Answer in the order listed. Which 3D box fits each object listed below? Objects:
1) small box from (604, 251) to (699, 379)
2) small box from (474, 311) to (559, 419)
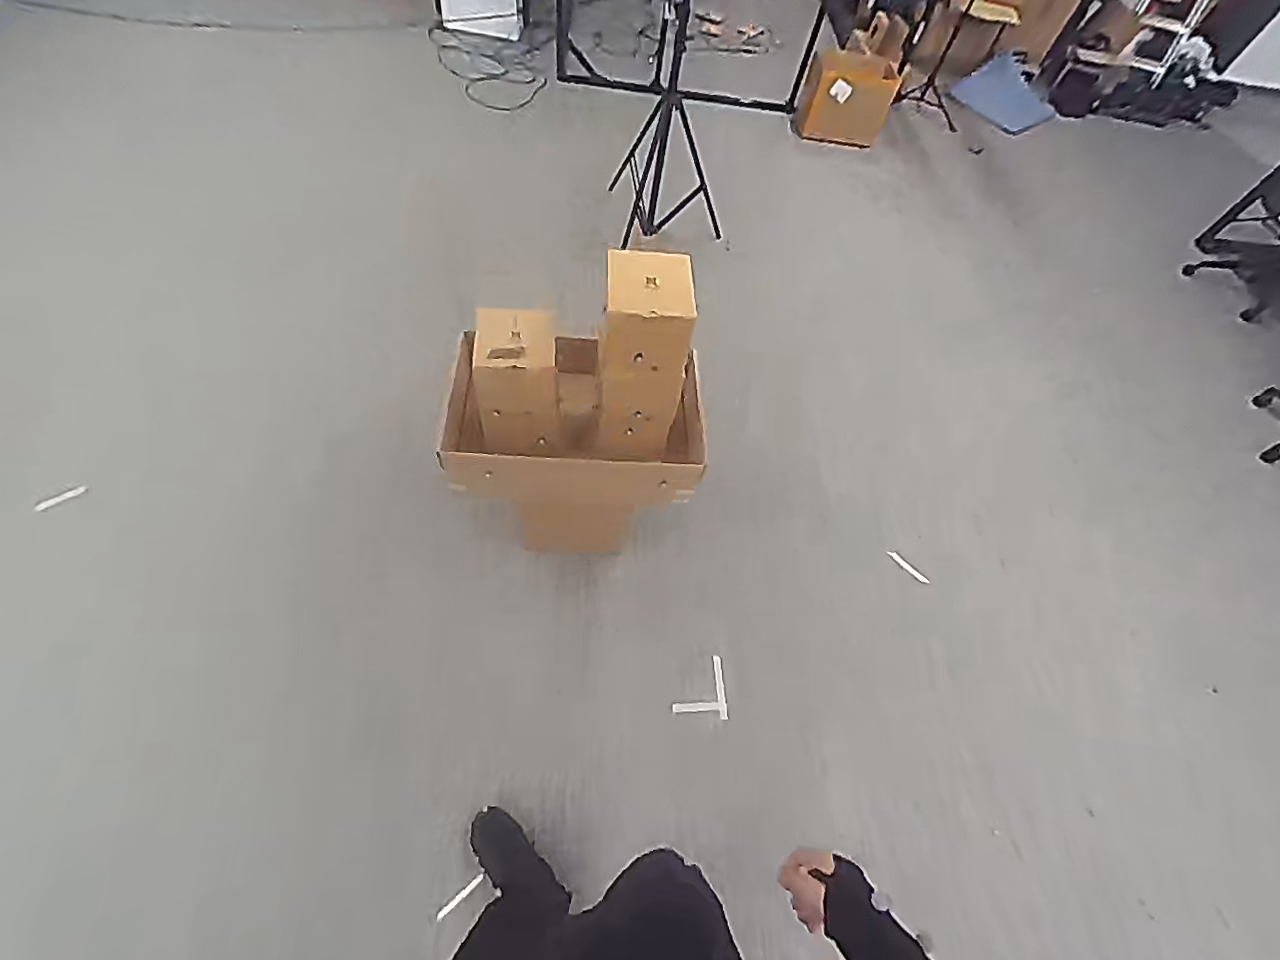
[{"bbox_3d":[0.015,-0.327,1.088,0.168,0.176,0.179,1,60,-7],"label":"small box"},{"bbox_3d":[-0.265,-0.248,1.194,0.168,0.176,0.179,0,58,-9],"label":"small box"}]
